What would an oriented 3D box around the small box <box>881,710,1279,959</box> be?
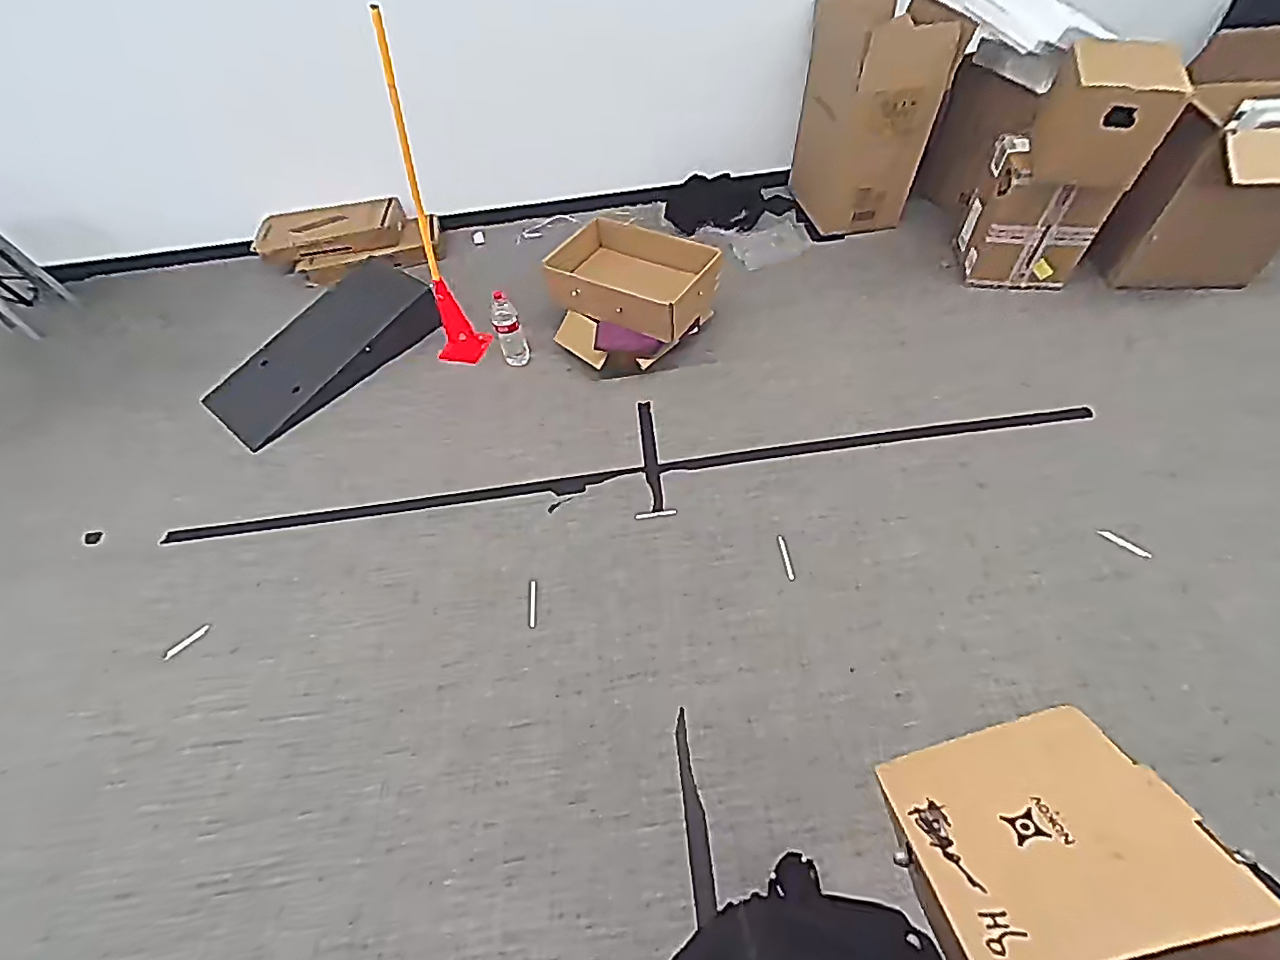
[{"bbox_3d":[0.320,0.322,0.419,0.179,0.176,0.168,-21,18,7],"label":"small box"}]
